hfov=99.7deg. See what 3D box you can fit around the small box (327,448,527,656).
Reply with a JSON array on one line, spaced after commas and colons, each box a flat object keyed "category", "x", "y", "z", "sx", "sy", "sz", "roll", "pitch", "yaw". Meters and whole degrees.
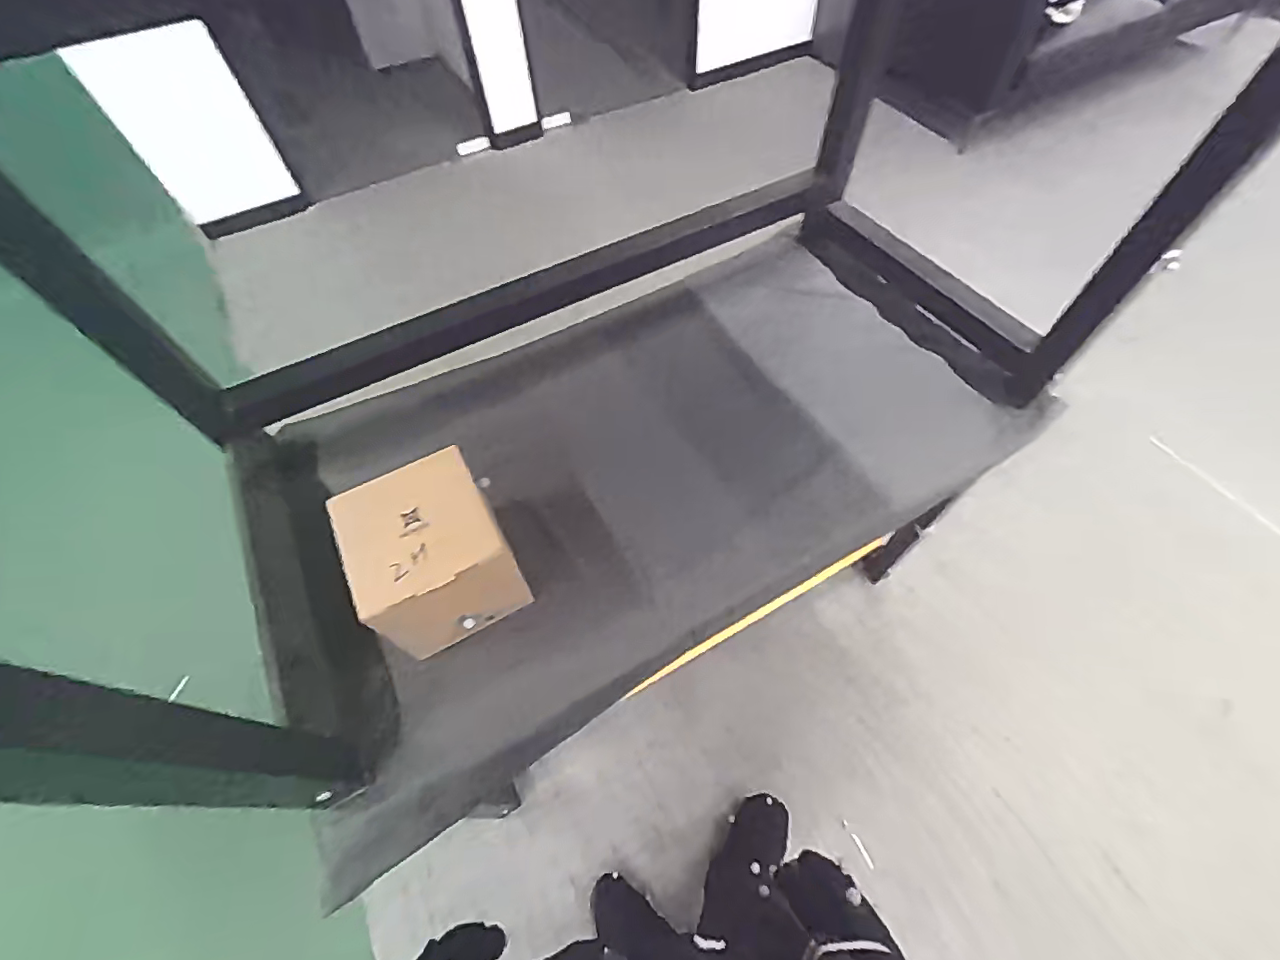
[{"category": "small box", "x": -0.265, "y": 0.097, "z": 0.699, "sx": 0.168, "sy": 0.176, "sz": 0.179, "roll": -27, "pitch": 60, "yaw": -13}]
